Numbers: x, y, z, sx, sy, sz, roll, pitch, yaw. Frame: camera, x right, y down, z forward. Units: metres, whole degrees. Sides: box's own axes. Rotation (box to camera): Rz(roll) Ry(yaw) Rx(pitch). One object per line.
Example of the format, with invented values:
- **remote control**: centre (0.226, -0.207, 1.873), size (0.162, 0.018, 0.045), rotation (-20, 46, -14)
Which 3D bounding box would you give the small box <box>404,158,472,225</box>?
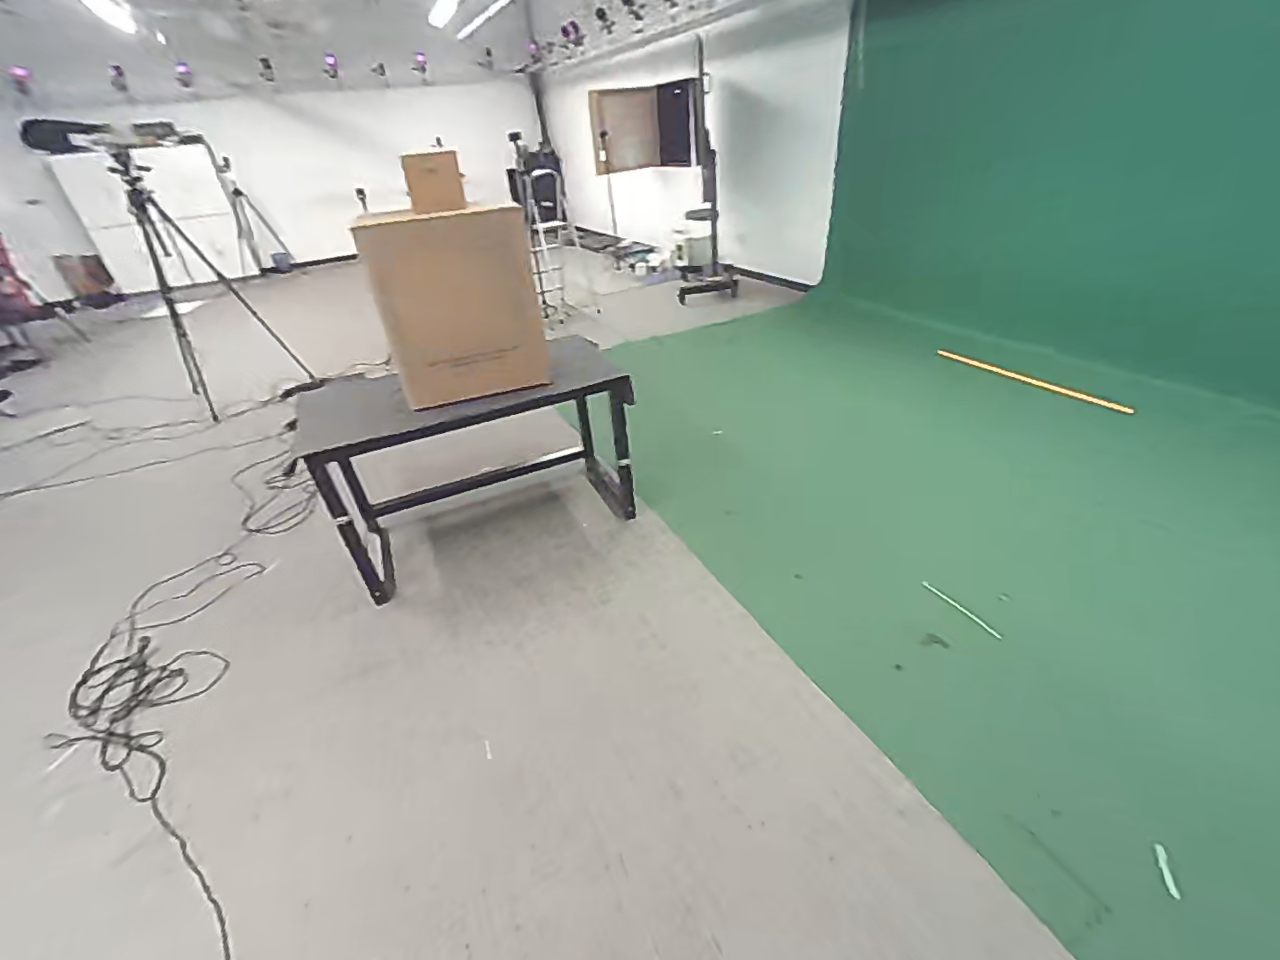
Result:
- **small box**: centre (-0.660, -0.948, 1.777), size (0.179, 0.176, 0.168), rotation (-15, 36, -15)
